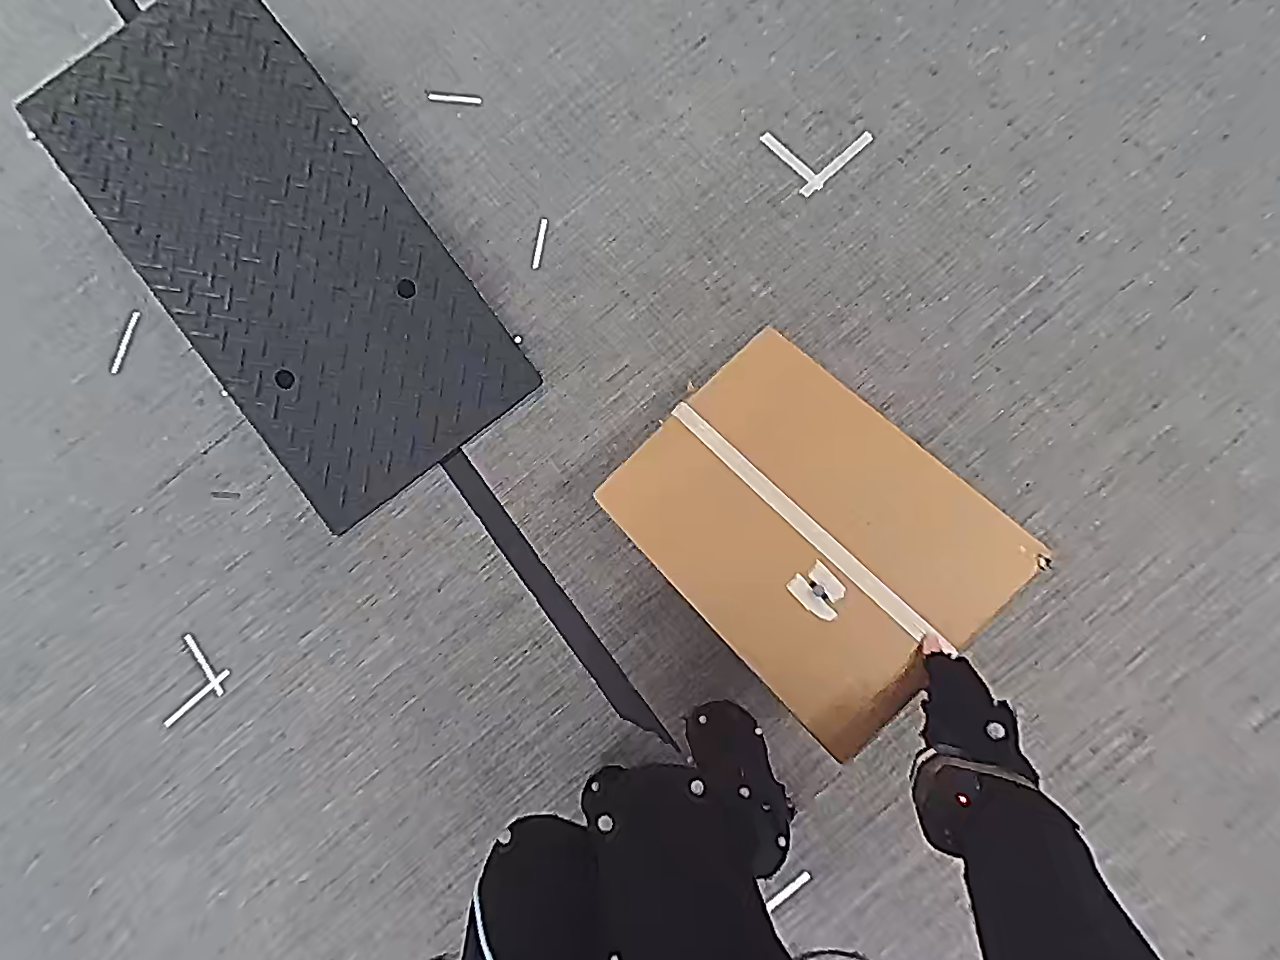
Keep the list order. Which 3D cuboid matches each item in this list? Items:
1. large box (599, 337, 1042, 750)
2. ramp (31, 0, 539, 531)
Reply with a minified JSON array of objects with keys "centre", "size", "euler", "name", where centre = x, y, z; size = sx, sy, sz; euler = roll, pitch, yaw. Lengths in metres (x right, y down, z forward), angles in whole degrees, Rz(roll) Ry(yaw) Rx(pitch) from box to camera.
[{"centre":[0.214,0.085,0.767],"size":[0.320,0.320,0.408],"euler":[-44,71,-2],"name":"large box"},{"centre":[-0.671,-0.440,1.035],"size":[0.509,0.206,0.991],"euler":[-38,80,-1],"name":"ramp"}]
